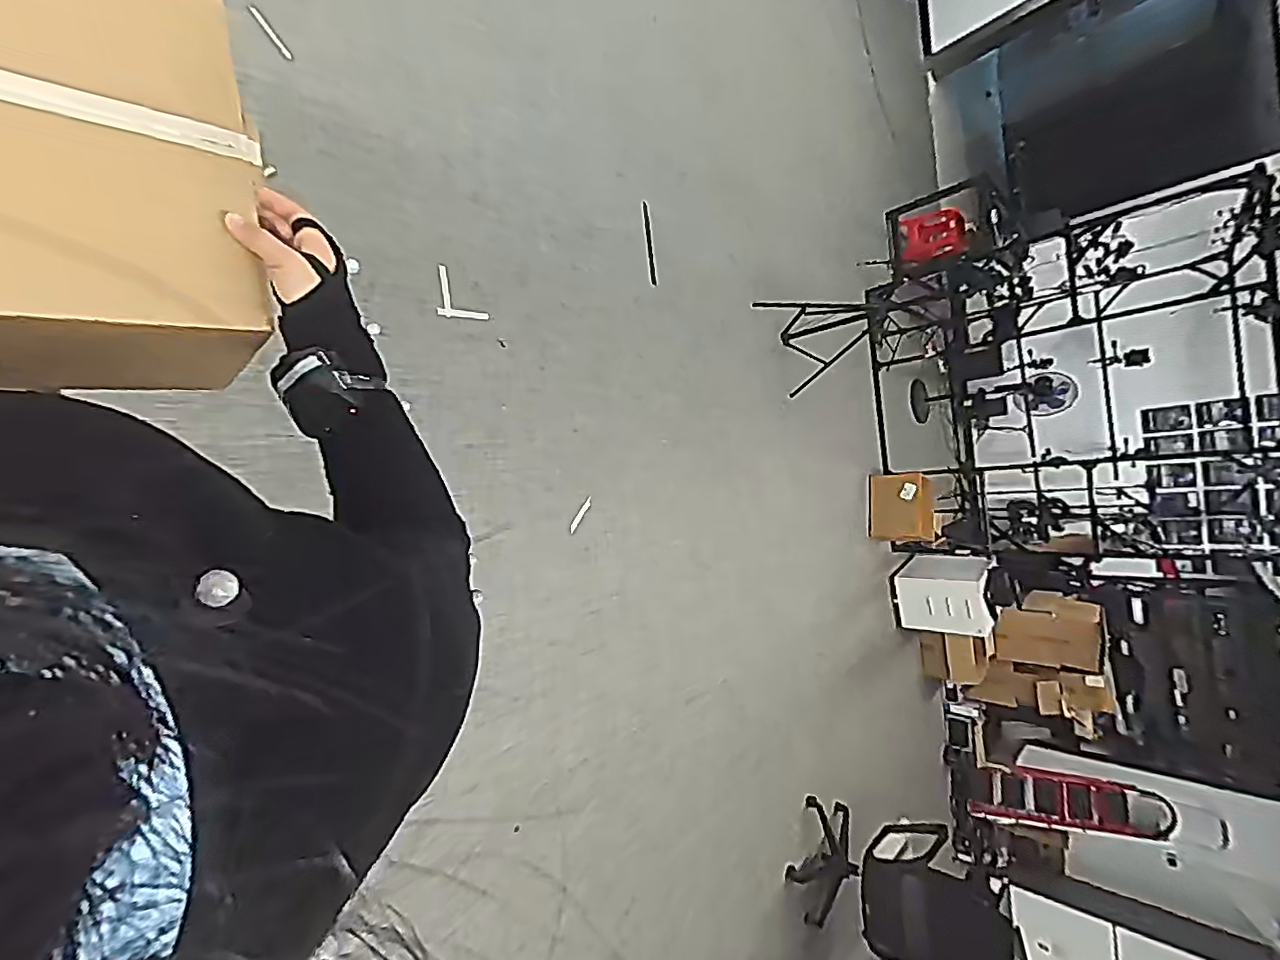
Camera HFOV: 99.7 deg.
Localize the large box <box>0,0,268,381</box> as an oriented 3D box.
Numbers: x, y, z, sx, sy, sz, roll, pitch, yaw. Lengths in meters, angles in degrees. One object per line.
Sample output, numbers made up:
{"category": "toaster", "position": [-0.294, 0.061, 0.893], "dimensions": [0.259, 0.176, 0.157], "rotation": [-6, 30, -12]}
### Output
{"category": "large box", "position": [-0.594, -0.259, 0.449], "dimensions": [0.408, 0.320, 0.320], "rotation": [-10, 93, -43]}
